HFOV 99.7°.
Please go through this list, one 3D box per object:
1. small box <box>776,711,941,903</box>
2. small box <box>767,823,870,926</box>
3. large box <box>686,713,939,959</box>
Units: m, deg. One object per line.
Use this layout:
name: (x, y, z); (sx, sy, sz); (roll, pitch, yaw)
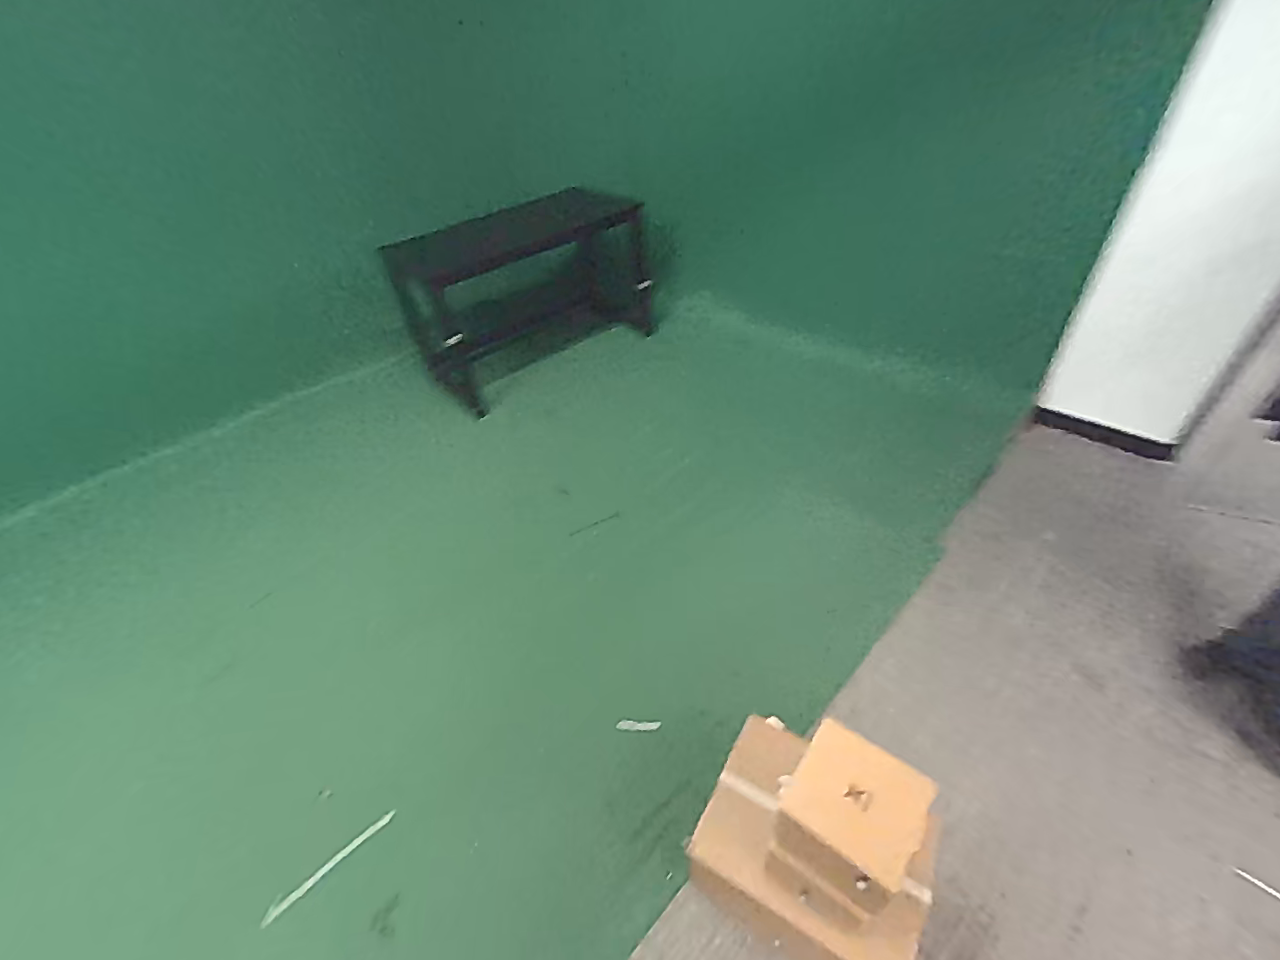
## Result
small box: (0.326, 0.505, 0.836); (0.179, 0.176, 0.168); (26, 52, 30)
small box: (0.333, 0.627, 0.943); (0.168, 0.176, 0.179); (25, 52, 30)
large box: (0.351, 0.782, 1.138); (0.408, 0.320, 0.320); (19, 47, 27)
